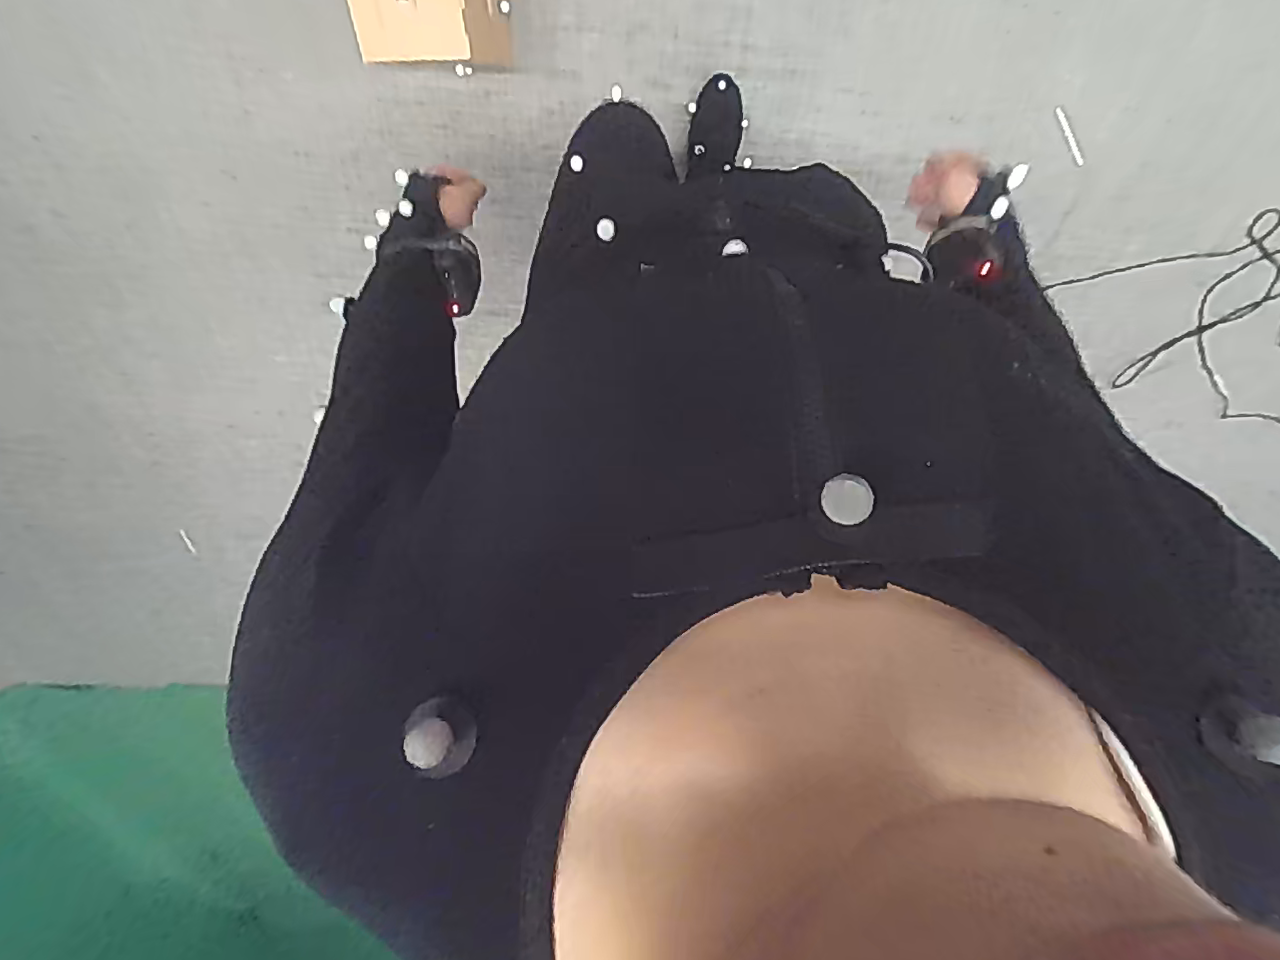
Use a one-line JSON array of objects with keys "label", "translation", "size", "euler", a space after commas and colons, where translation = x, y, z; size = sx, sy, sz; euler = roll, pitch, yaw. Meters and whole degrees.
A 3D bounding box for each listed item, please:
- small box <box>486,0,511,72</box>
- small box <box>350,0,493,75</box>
[{"label": "small box", "translation": [-0.345, -0.872, 1.010], "size": [0.179, 0.176, 0.168], "euler": [1, 125, 1]}, {"label": "small box", "translation": [-0.349, -0.770, 0.882], "size": [0.179, 0.176, 0.168], "euler": [0, 124, 4]}]
